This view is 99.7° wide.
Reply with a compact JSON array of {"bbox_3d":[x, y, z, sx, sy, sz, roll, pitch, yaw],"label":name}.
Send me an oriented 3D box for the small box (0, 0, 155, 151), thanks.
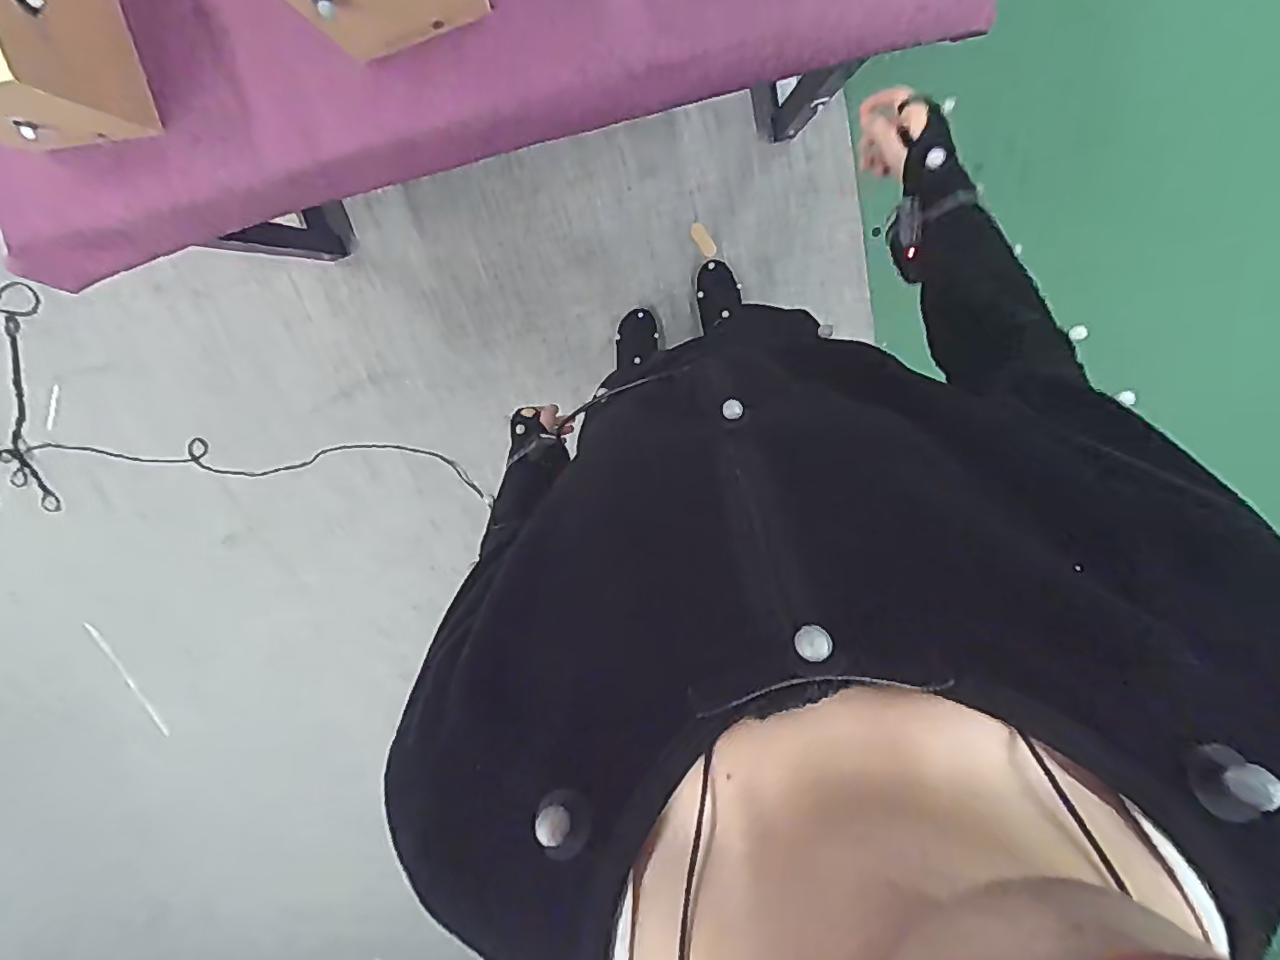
[{"bbox_3d":[-0.653,-0.449,0.541,0.168,0.176,0.179,-6,108,1],"label":"small box"}]
